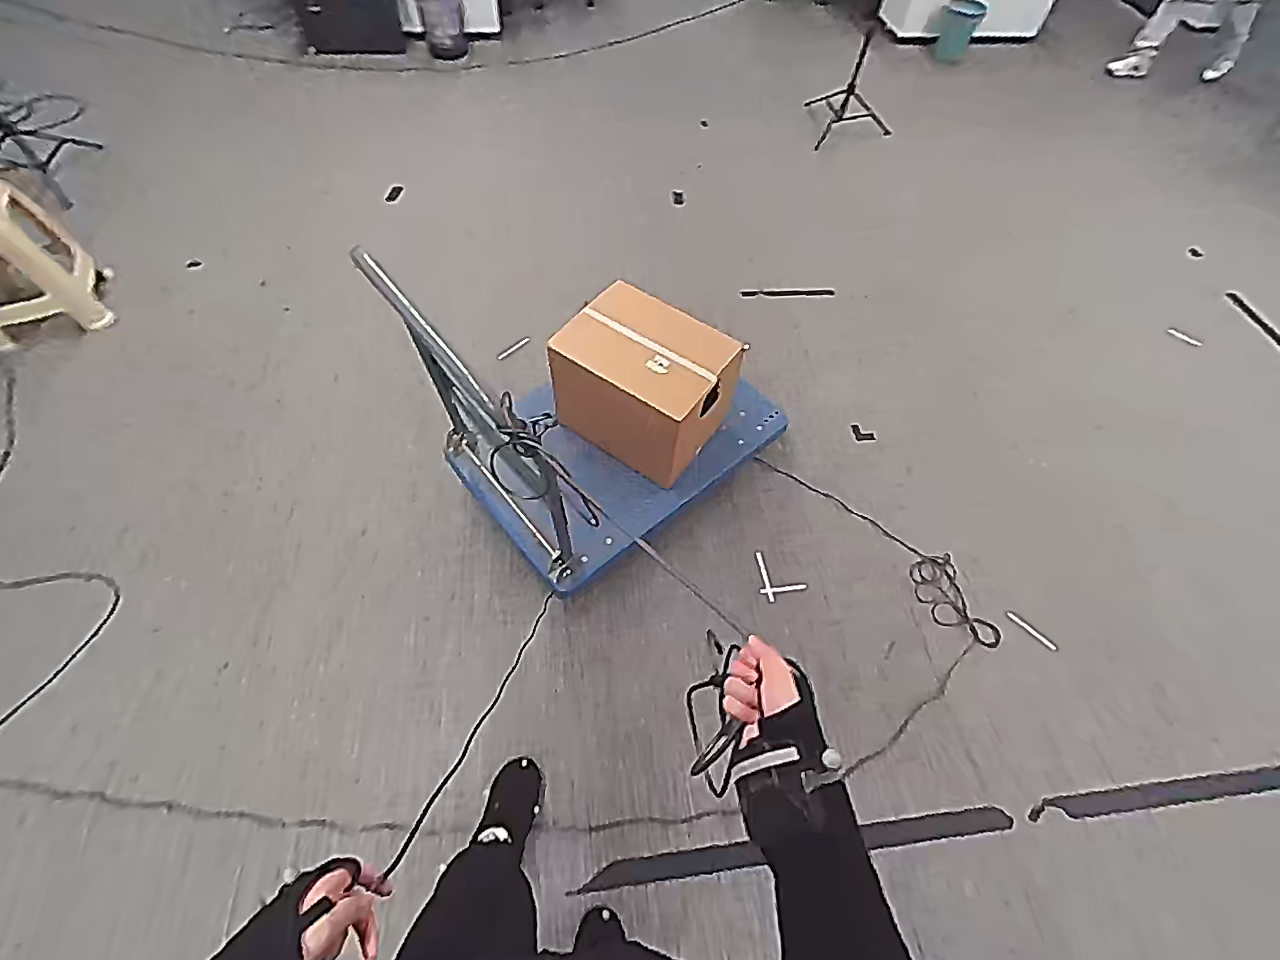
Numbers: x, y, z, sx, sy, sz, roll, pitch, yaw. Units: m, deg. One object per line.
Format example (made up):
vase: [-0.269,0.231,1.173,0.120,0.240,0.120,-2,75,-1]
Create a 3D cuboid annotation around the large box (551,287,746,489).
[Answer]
large box: [0.012,-0.248,1.480,0.408,0.320,0.320,32,62,15]
